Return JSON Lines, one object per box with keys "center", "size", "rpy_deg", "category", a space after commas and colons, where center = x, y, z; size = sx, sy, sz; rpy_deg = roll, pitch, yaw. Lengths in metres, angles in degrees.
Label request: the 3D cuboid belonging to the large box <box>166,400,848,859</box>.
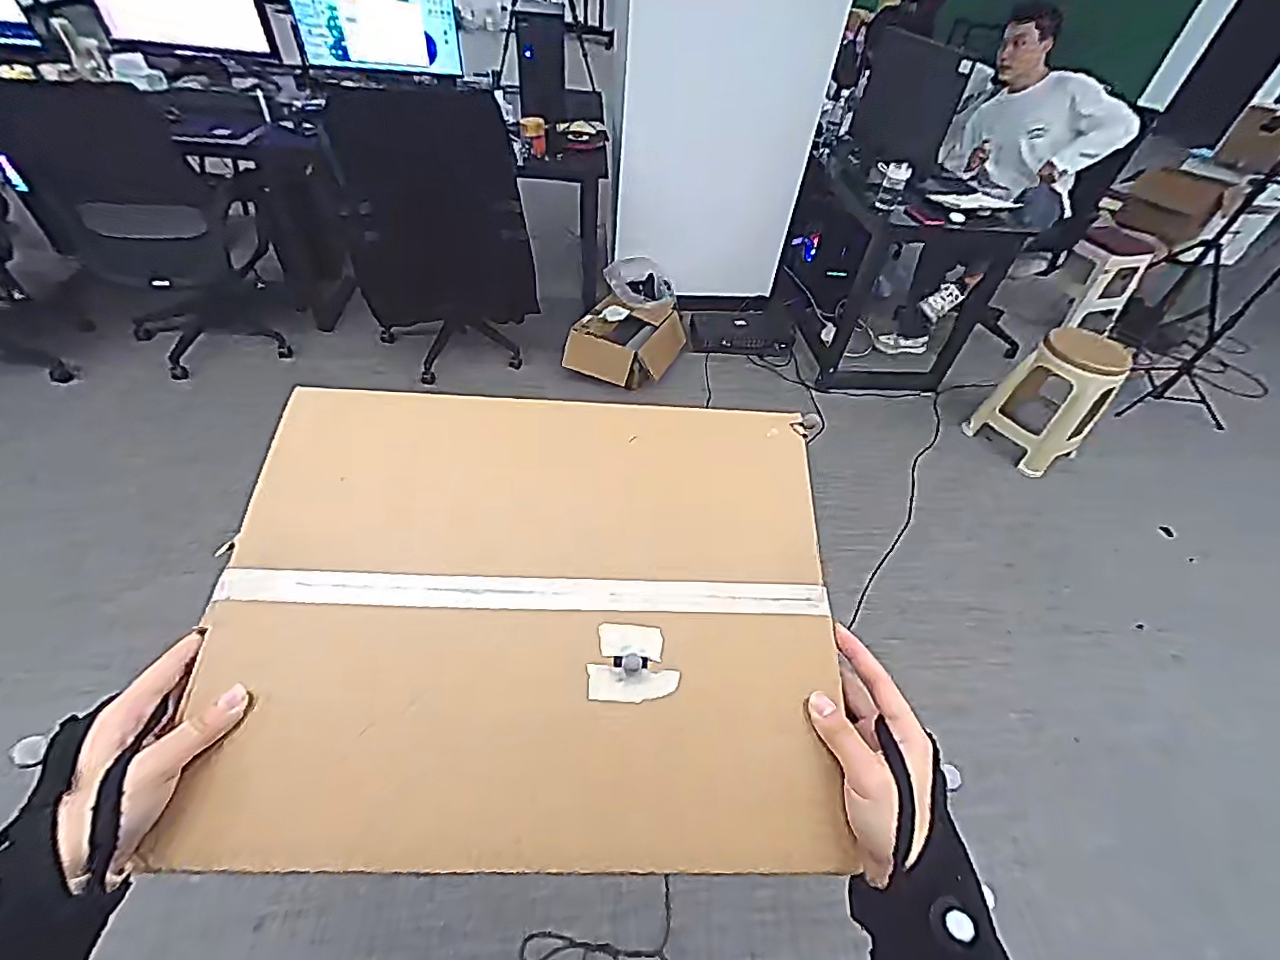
{"center": [-0.081, 0.145, 0.513], "size": [0.408, 0.320, 0.320], "rpy_deg": [3, 64, -4], "category": "large box"}
